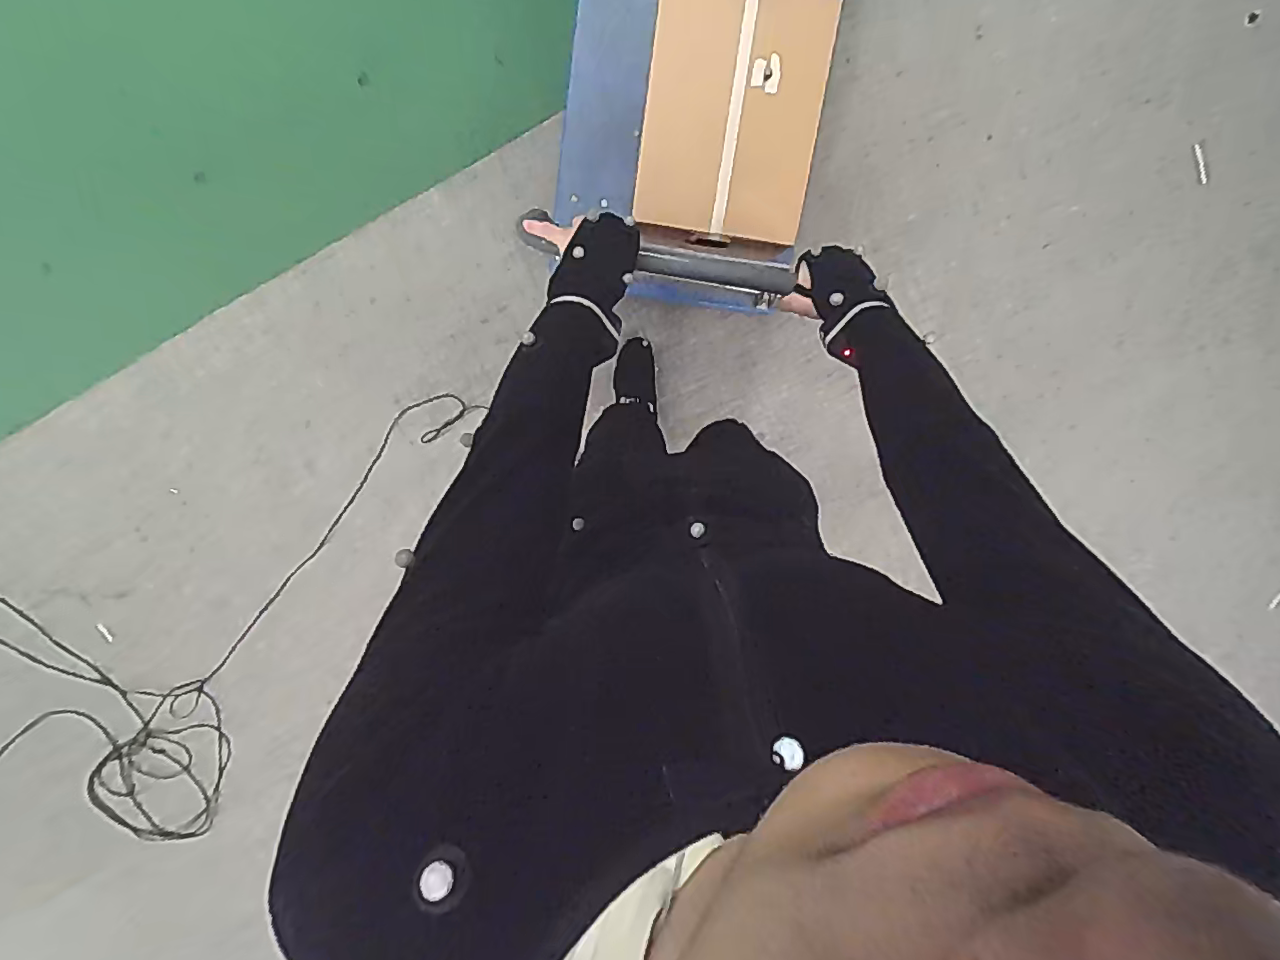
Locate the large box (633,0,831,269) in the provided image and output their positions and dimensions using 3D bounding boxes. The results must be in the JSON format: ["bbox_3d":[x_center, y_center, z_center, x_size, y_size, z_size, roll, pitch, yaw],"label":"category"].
[{"bbox_3d":[0.159,-0.689,1.131,0.320,0.320,0.408,7,103,-4],"label":"large box"}]
